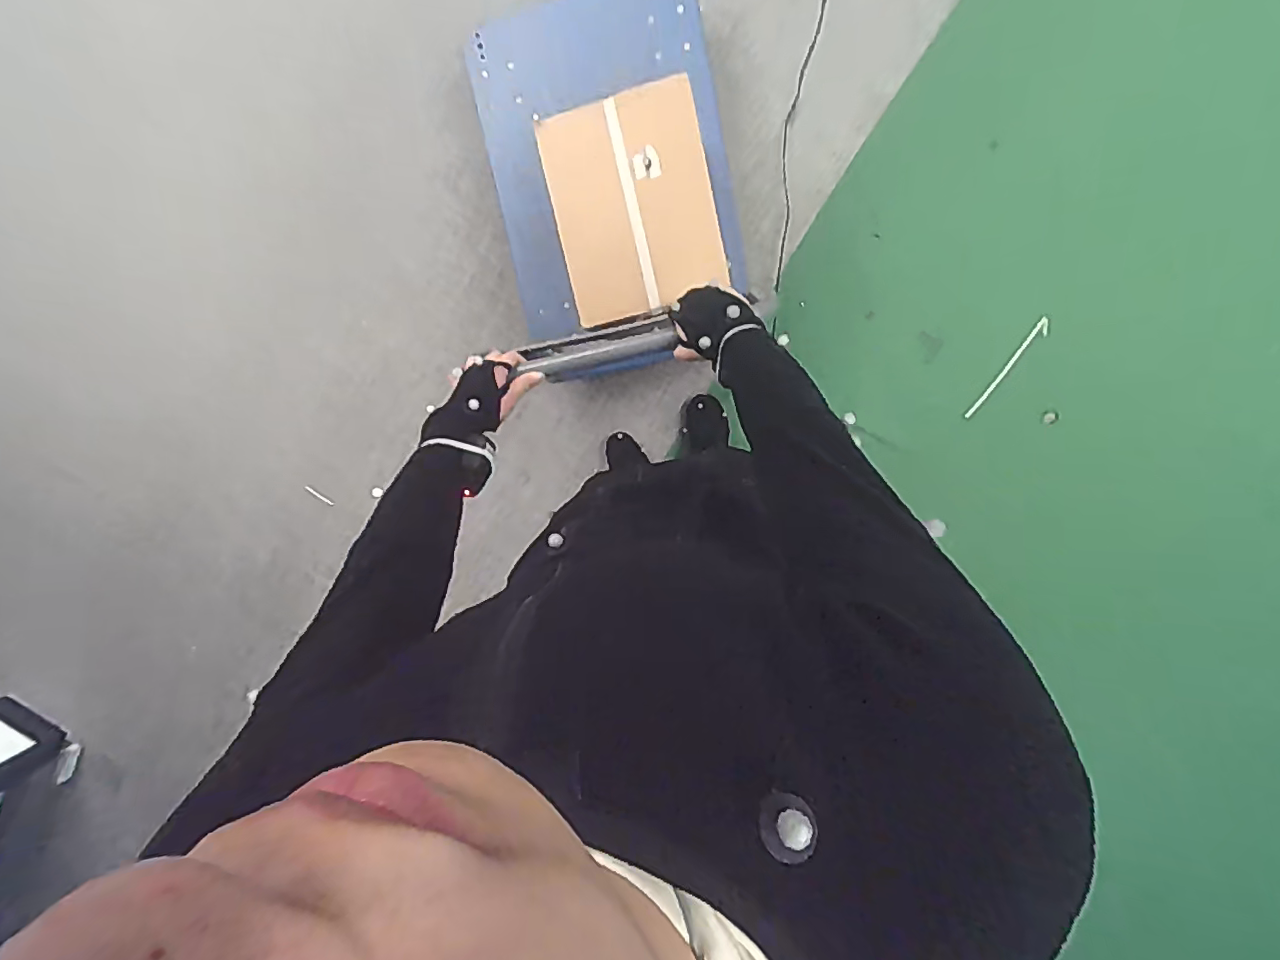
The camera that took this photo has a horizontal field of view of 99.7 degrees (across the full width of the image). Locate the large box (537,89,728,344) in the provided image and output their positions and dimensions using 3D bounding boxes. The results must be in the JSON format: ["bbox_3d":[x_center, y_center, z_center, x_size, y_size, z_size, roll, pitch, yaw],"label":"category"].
[{"bbox_3d":[0.004,-0.556,1.234,0.320,0.320,0.408,-12,98,8],"label":"large box"}]
